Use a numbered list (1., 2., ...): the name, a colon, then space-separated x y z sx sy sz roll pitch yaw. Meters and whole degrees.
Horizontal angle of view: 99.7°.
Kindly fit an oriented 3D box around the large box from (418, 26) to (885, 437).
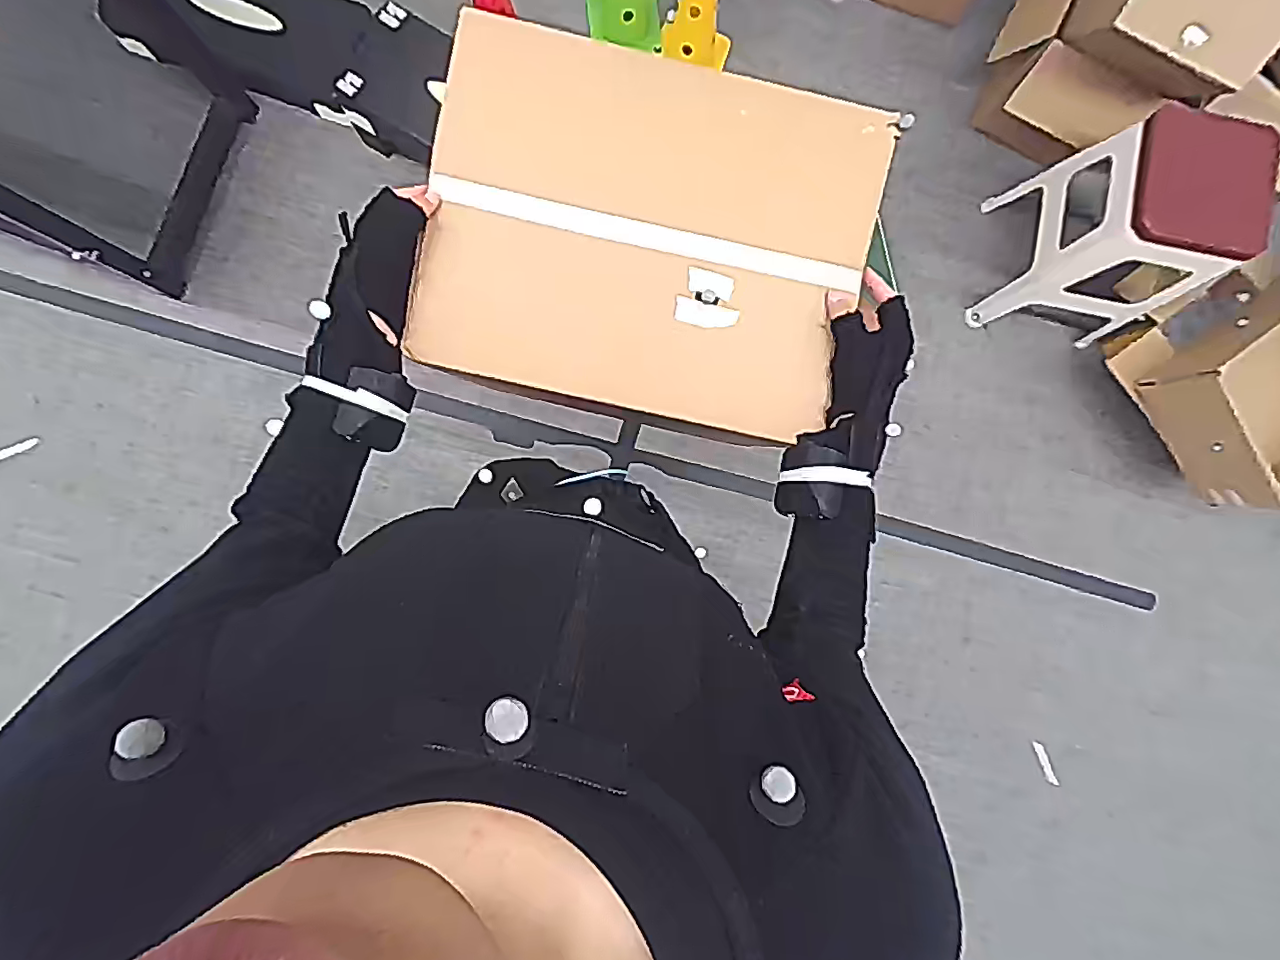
1. large box: 0.004 -0.242 0.662 0.408 0.320 0.320 12 95 -3
